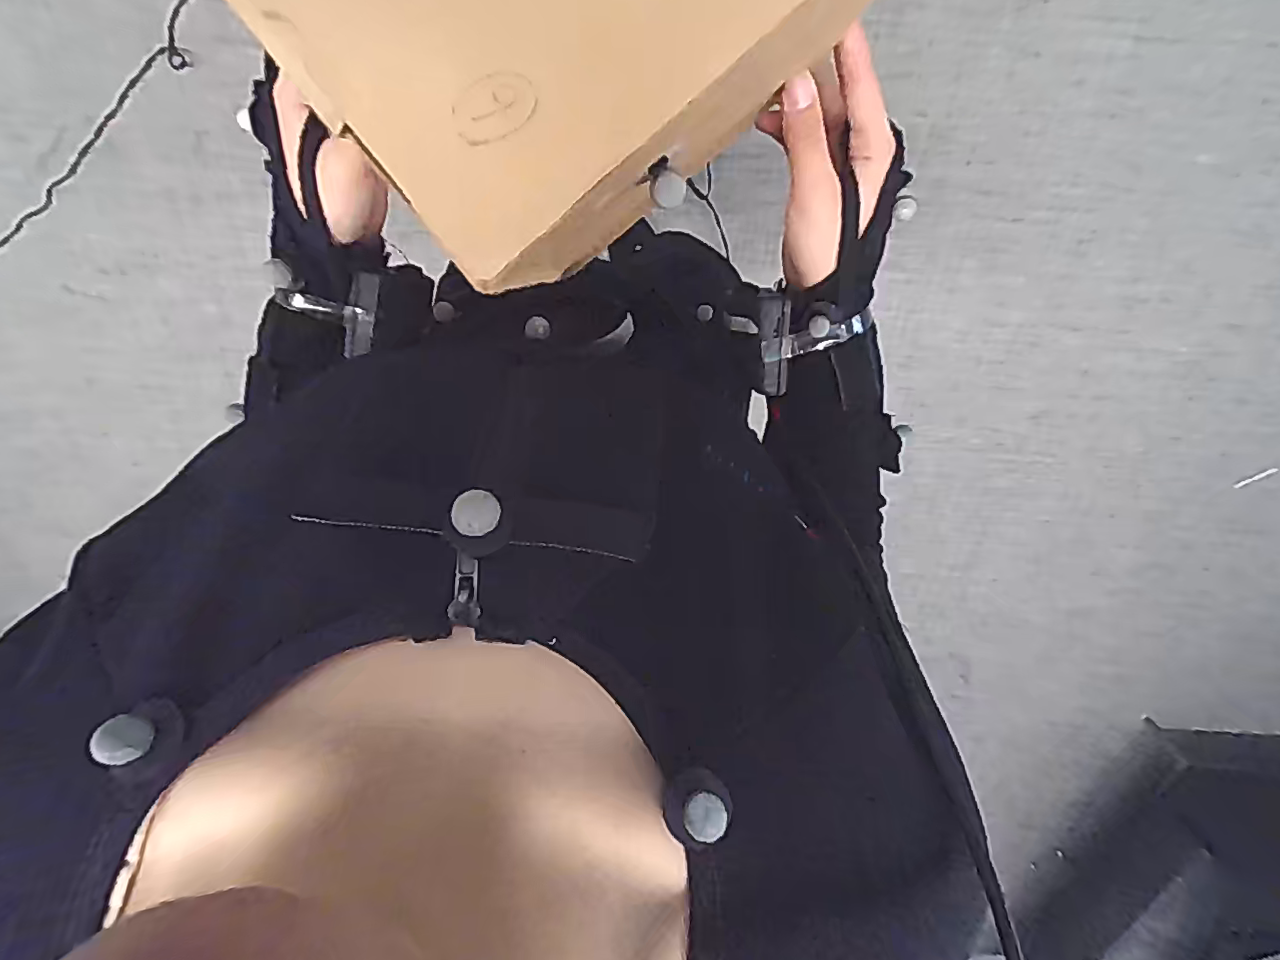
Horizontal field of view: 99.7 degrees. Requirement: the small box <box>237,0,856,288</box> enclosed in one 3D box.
[{"bbox_3d":[-0.028,-0.197,0.209,0.179,0.176,0.168,-34,106,16],"label":"small box"}]
